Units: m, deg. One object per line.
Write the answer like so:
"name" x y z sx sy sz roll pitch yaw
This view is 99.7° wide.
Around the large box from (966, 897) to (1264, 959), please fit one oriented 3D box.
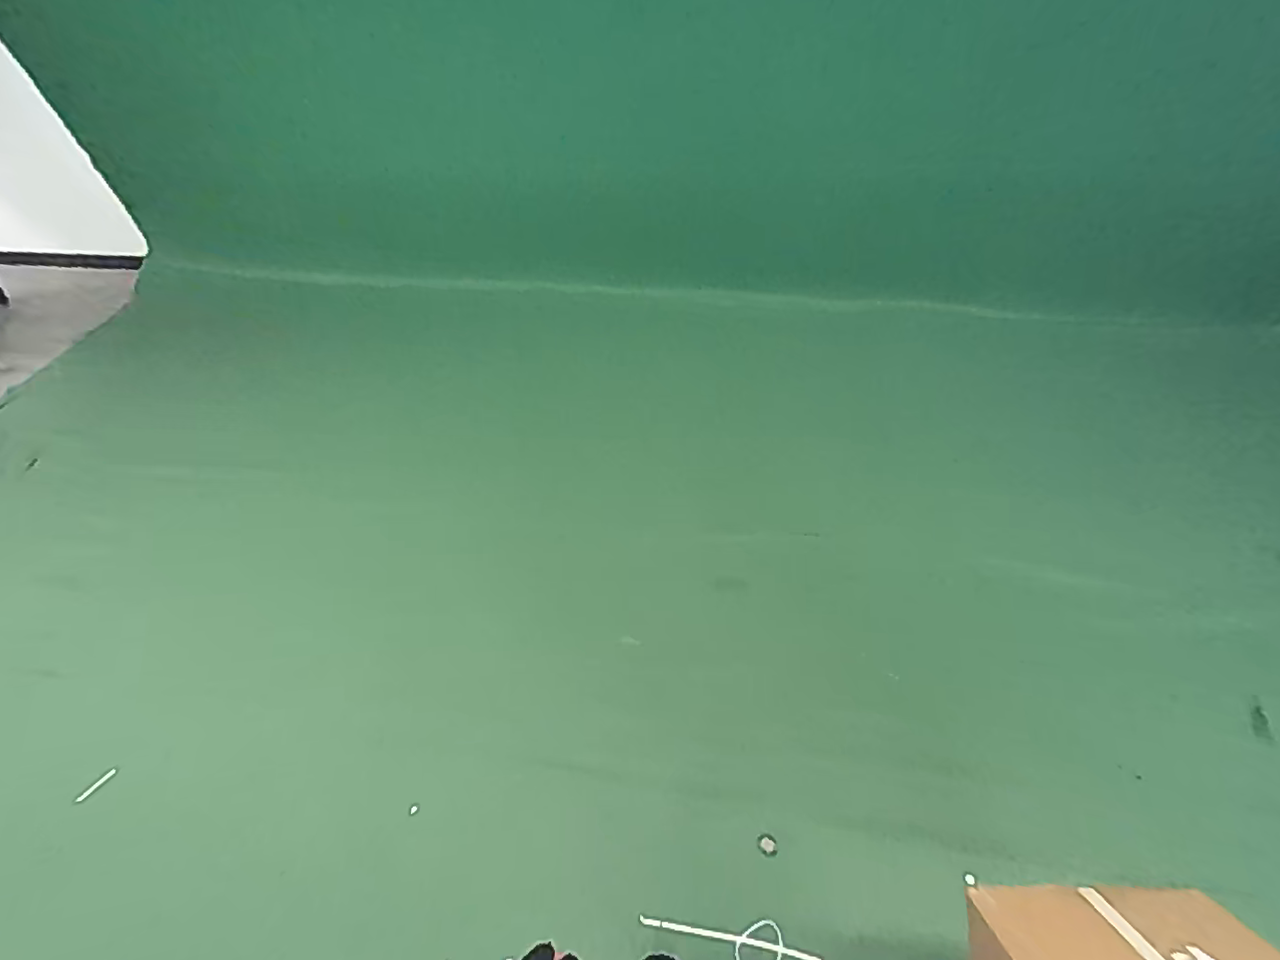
"large box" 0.608 0.736 0.556 0.320 0.408 0.320 -2 87 6
